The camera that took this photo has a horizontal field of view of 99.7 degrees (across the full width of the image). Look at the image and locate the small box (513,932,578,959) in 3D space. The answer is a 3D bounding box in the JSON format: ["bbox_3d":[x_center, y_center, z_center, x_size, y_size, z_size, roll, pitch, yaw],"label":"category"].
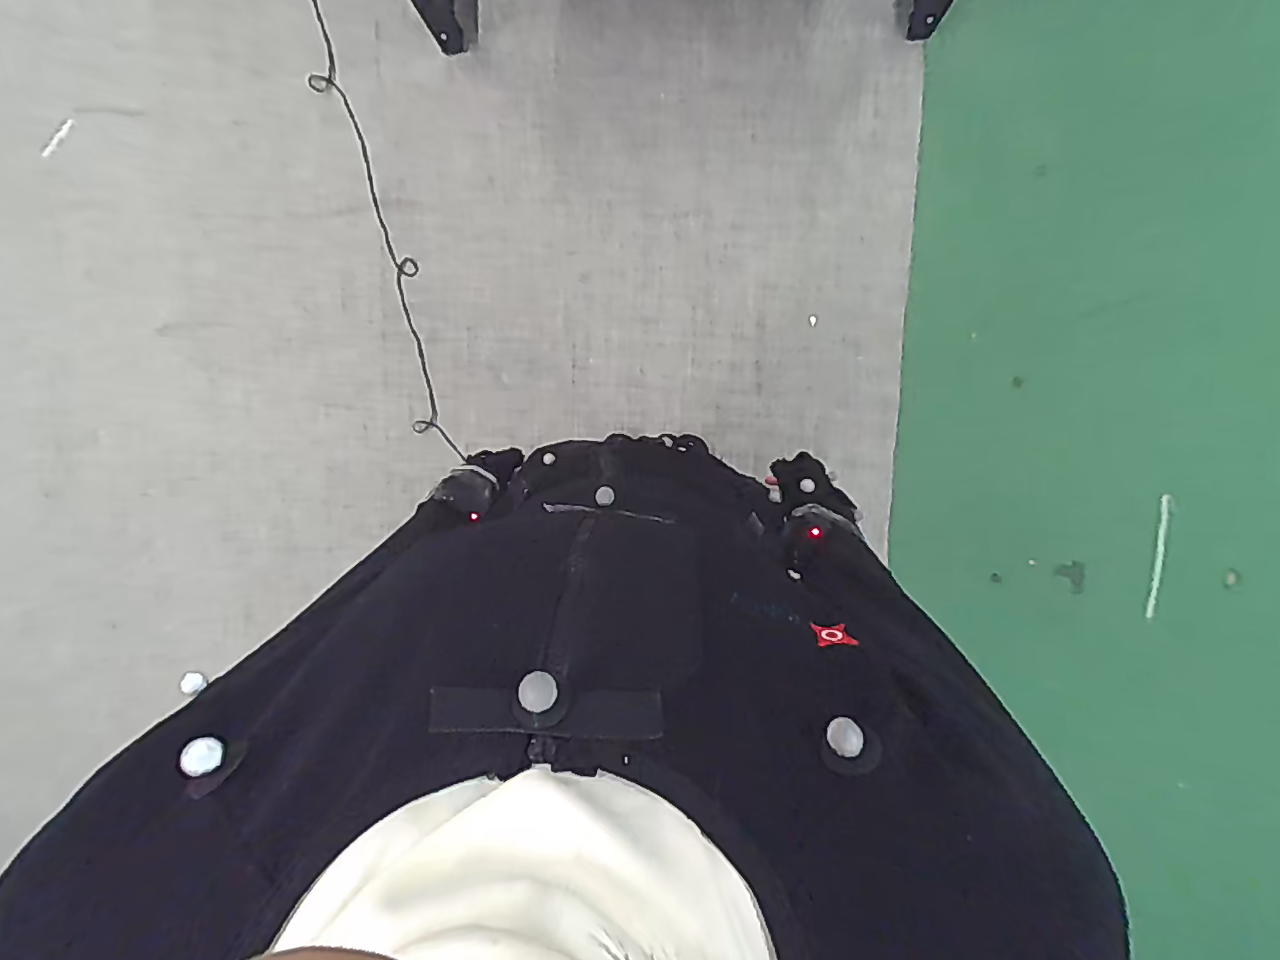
[{"bbox_3d":[-0.280,1.429,1.524,0.179,0.176,0.168,4,96,4],"label":"small box"}]
